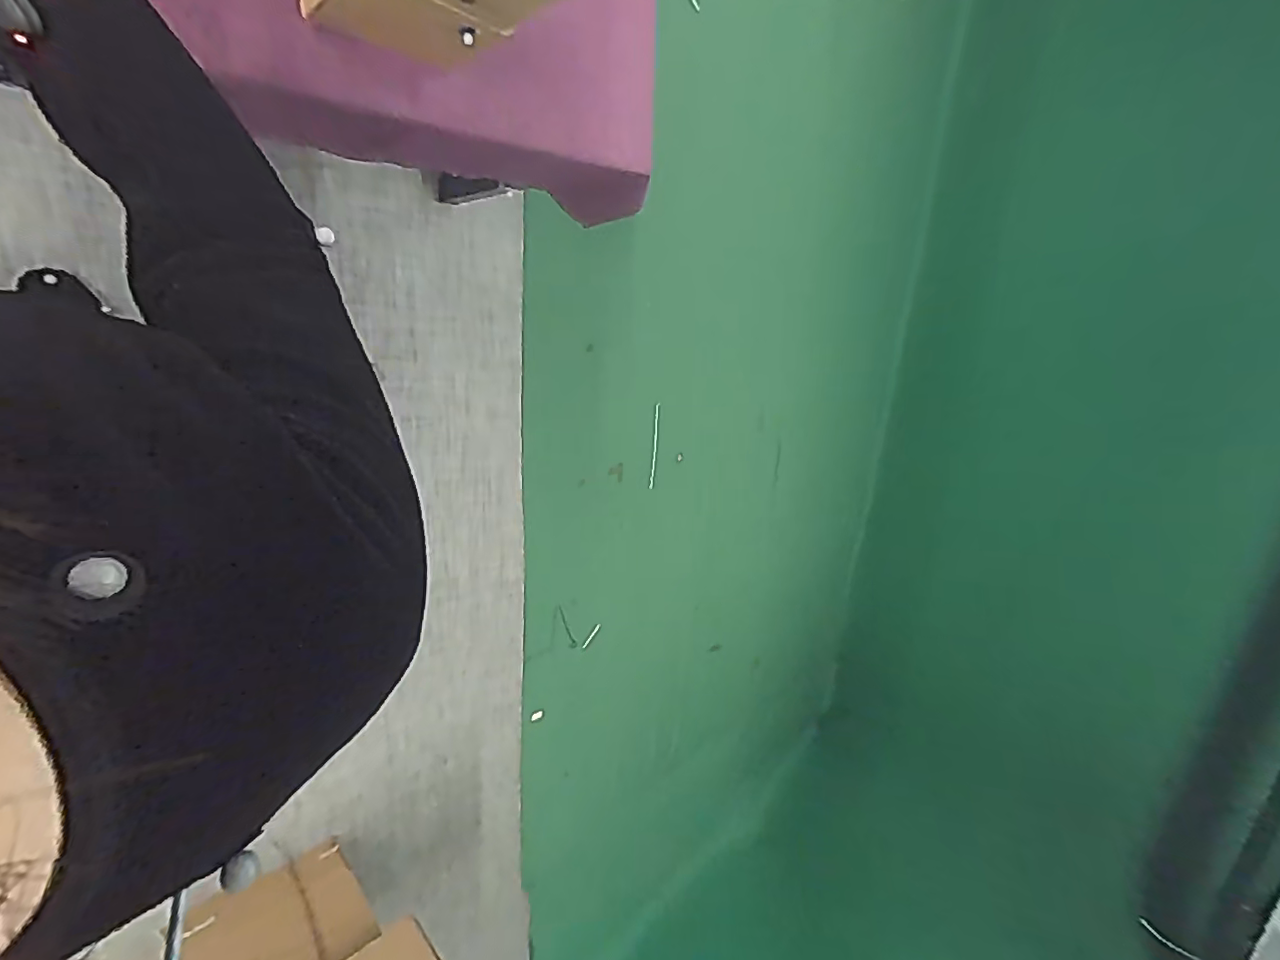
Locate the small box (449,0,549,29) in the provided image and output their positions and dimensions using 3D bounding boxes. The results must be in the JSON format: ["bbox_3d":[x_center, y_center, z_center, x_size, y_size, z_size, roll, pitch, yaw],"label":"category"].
[{"bbox_3d":[-0.144,-0.549,0.473,0.168,0.176,0.179,-10,110,-44],"label":"small box"}]

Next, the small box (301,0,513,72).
[{"bbox_3d":[-0.259,-0.581,0.586,0.179,0.176,0.168,-13,112,-43],"label":"small box"}]
